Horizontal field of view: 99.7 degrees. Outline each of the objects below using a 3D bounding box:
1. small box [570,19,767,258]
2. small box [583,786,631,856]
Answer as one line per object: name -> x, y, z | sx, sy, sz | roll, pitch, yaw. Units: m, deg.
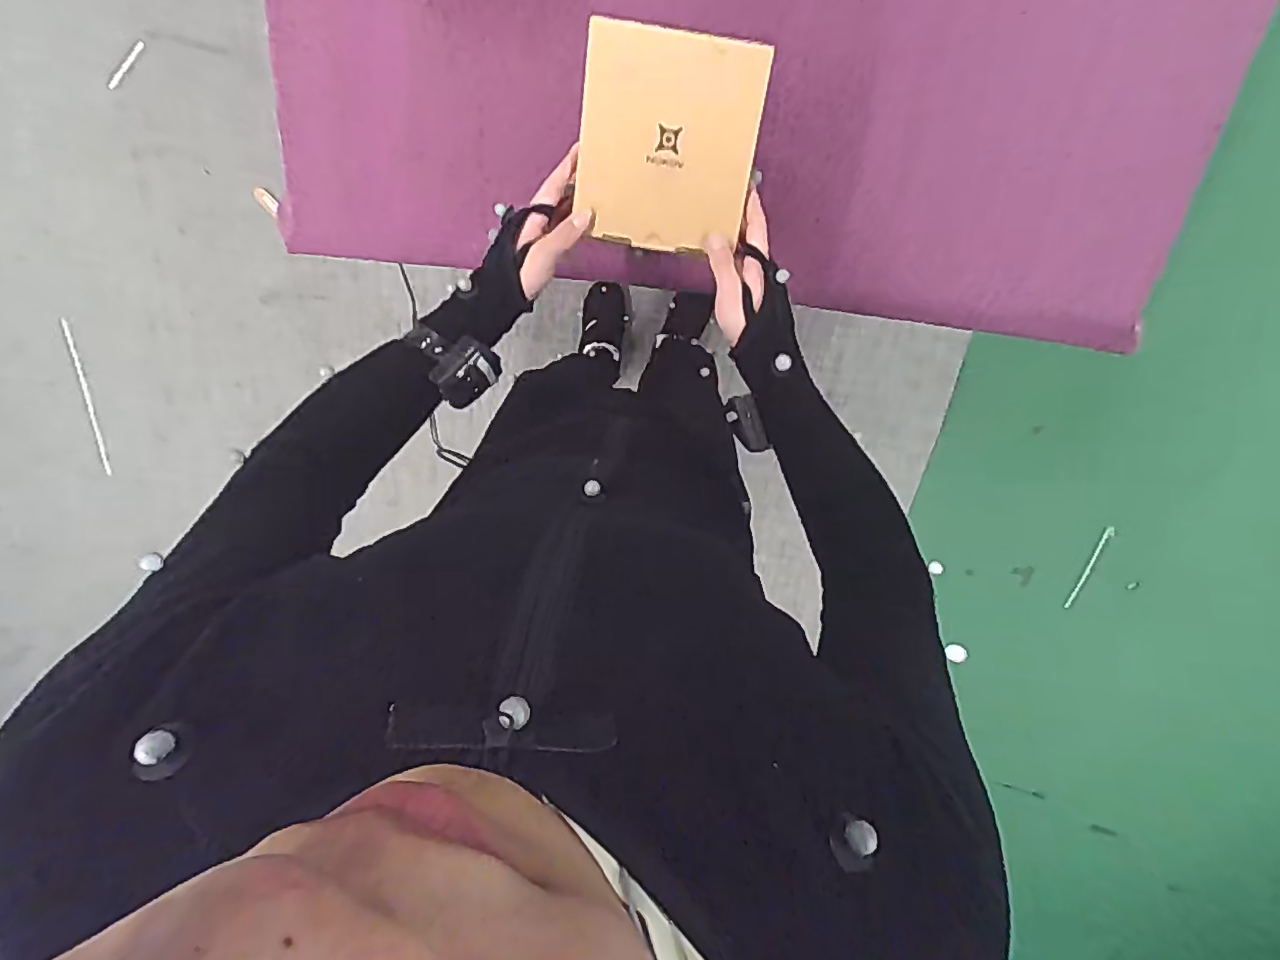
small box -> 0.023, -0.345, 0.583 | 0.168, 0.176, 0.179 | 8, 113, -1
small box -> -0.129, 1.349, 2.152 | 0.168, 0.176, 0.179 | 9, 113, -2
